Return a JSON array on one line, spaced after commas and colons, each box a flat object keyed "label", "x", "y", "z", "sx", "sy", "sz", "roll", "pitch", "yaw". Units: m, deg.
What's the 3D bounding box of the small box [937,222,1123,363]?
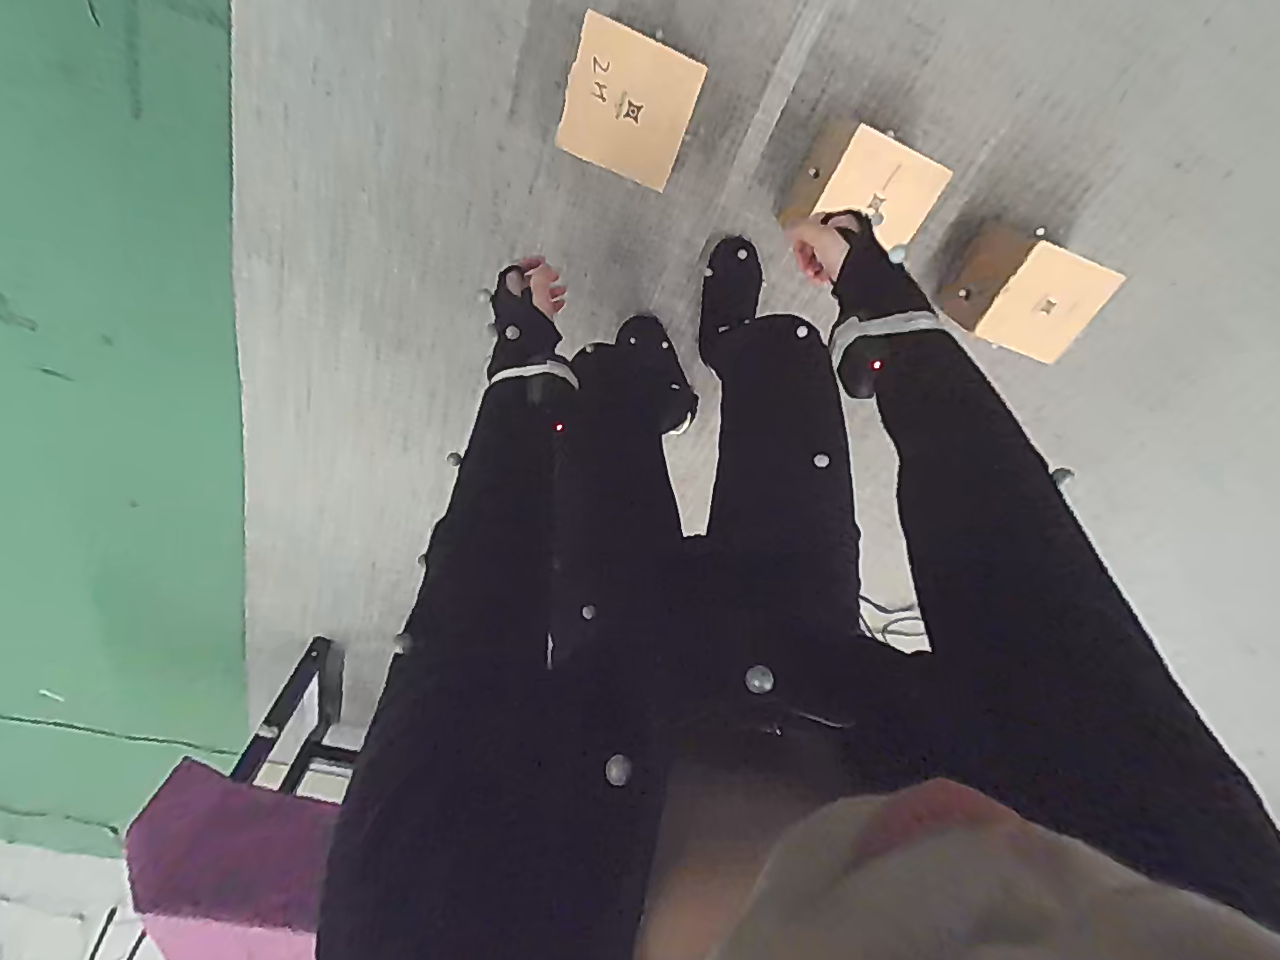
[{"label": "small box", "x": 0.675, "y": -0.340, "z": 0.965, "sx": 0.179, "sy": 0.176, "sz": 0.168, "roll": 17, "pitch": 126, "yaw": -10}]

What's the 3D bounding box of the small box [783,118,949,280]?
[{"label": "small box", "x": 0.352, "y": -0.464, "z": 0.888, "sx": 0.168, "sy": 0.176, "sz": 0.179, "roll": 19, "pitch": 124, "yaw": -11}]

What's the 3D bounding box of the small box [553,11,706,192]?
[{"label": "small box", "x": -0.016, "y": -0.573, "z": 0.827, "sx": 0.179, "sy": 0.176, "sz": 0.168, "roll": 19, "pitch": 124, "yaw": -11}]
